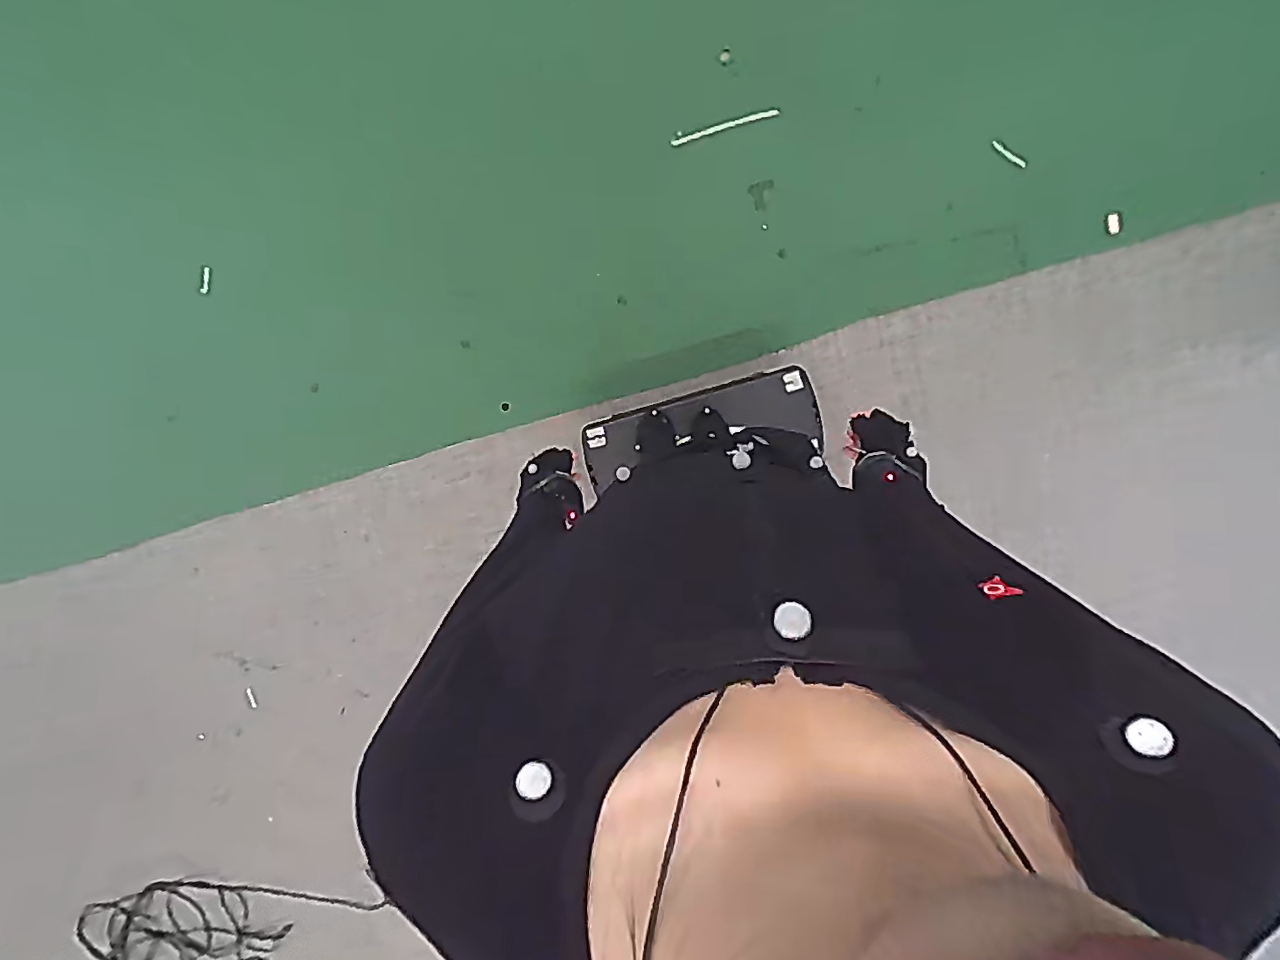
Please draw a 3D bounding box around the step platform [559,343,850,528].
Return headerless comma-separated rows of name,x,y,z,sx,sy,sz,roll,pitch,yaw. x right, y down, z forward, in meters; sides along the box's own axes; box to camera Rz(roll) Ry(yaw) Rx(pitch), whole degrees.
step platform,0.153,-0.116,1.369,0.684,0.204,0.286,-17,99,4
